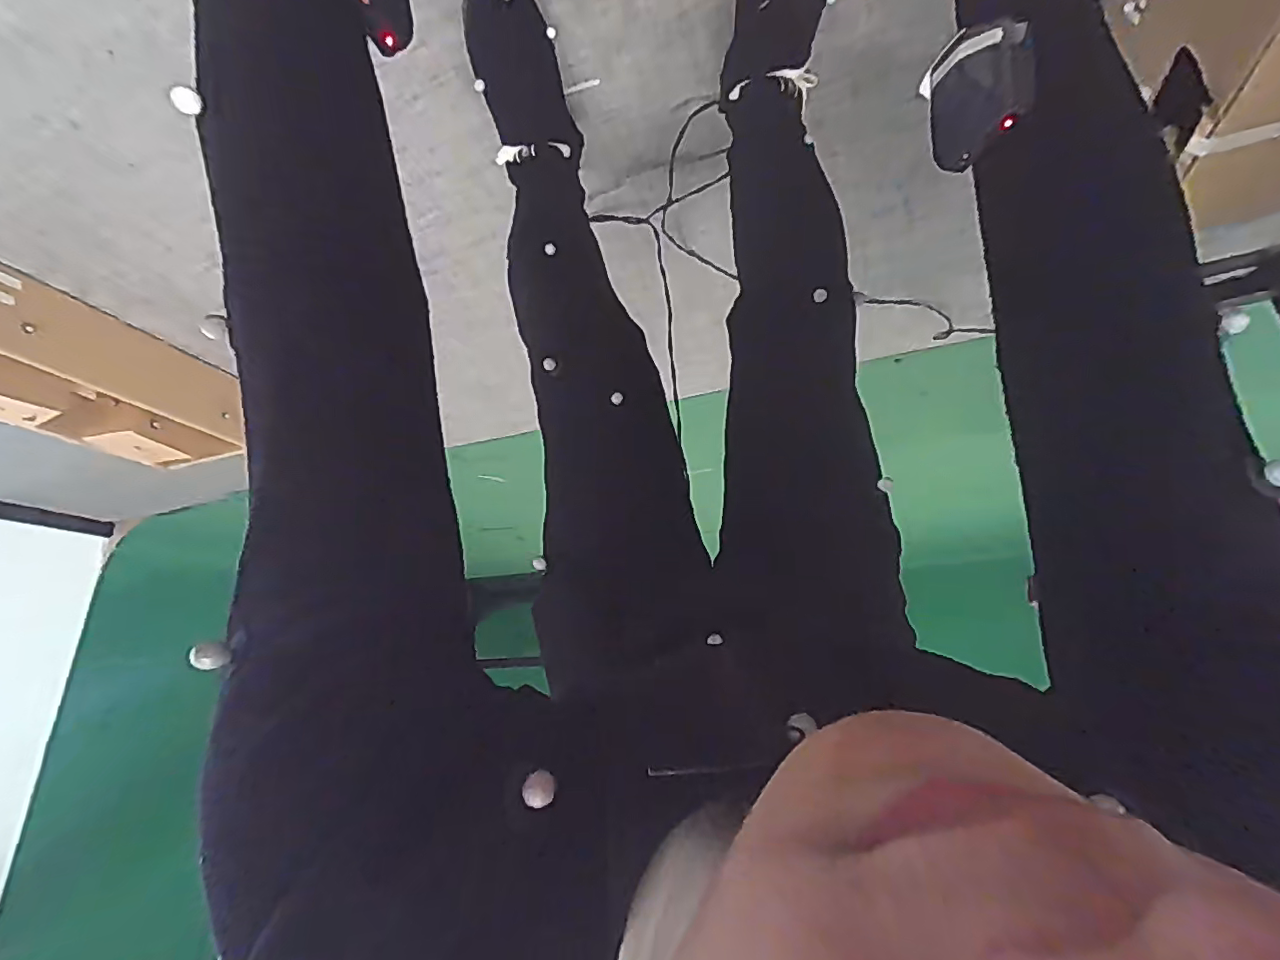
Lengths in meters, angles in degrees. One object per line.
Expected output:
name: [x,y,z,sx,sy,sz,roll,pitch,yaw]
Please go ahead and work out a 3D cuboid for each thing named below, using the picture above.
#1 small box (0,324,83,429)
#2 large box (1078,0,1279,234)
small box: [-1.462,-0.241,1.250,0.168,0.176,0.179,-11,158,22]
large box: [0.794,-0.547,0.577,0.408,0.320,0.320,-10,158,19]
